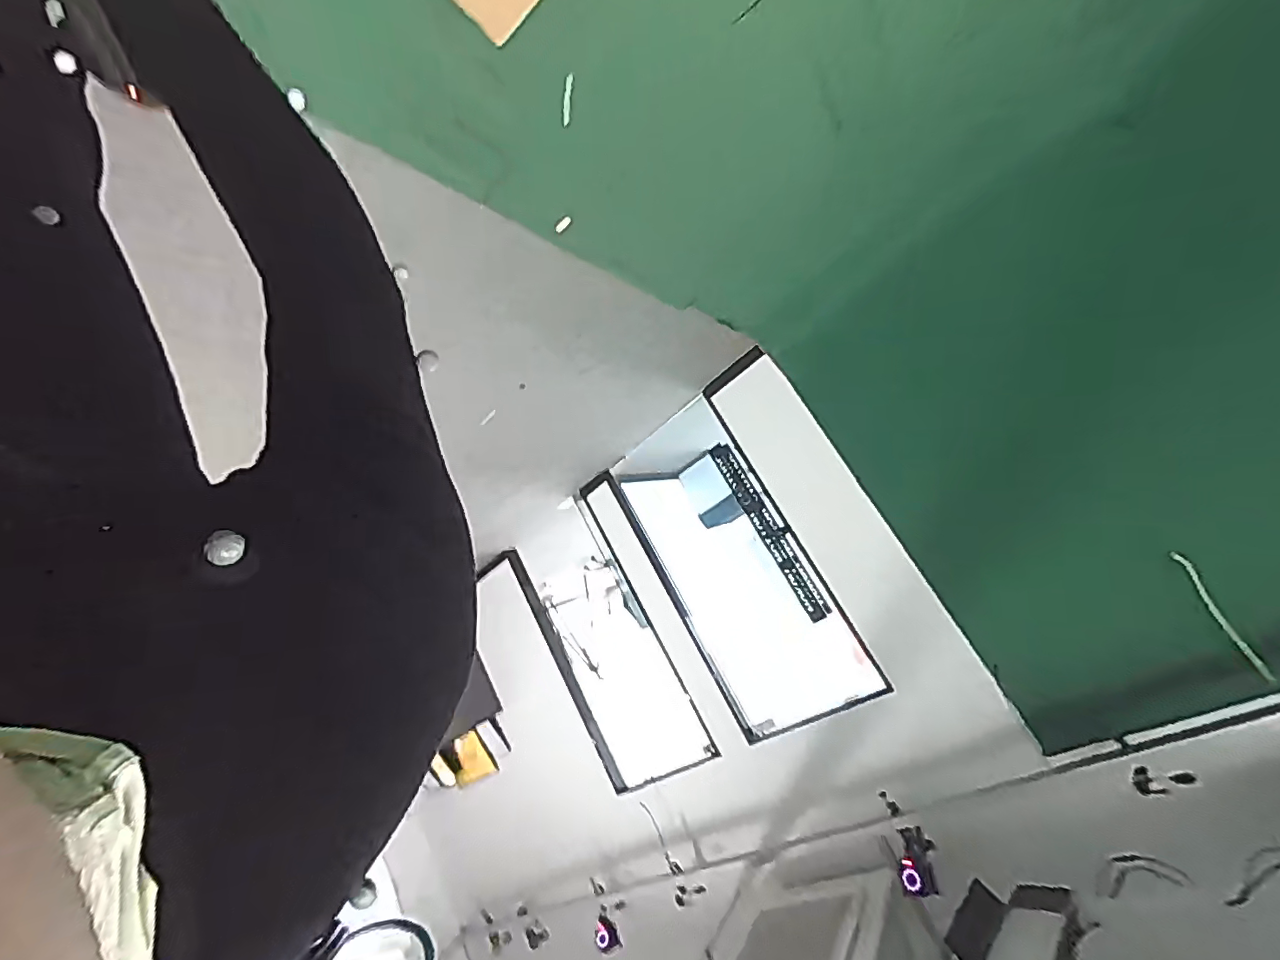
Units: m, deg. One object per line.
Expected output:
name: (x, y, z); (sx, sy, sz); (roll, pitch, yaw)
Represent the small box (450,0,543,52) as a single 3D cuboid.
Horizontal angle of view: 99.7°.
small box: (-0.227, -0.773, 0.750); (0.179, 0.176, 0.168); (-36, 163, 21)
